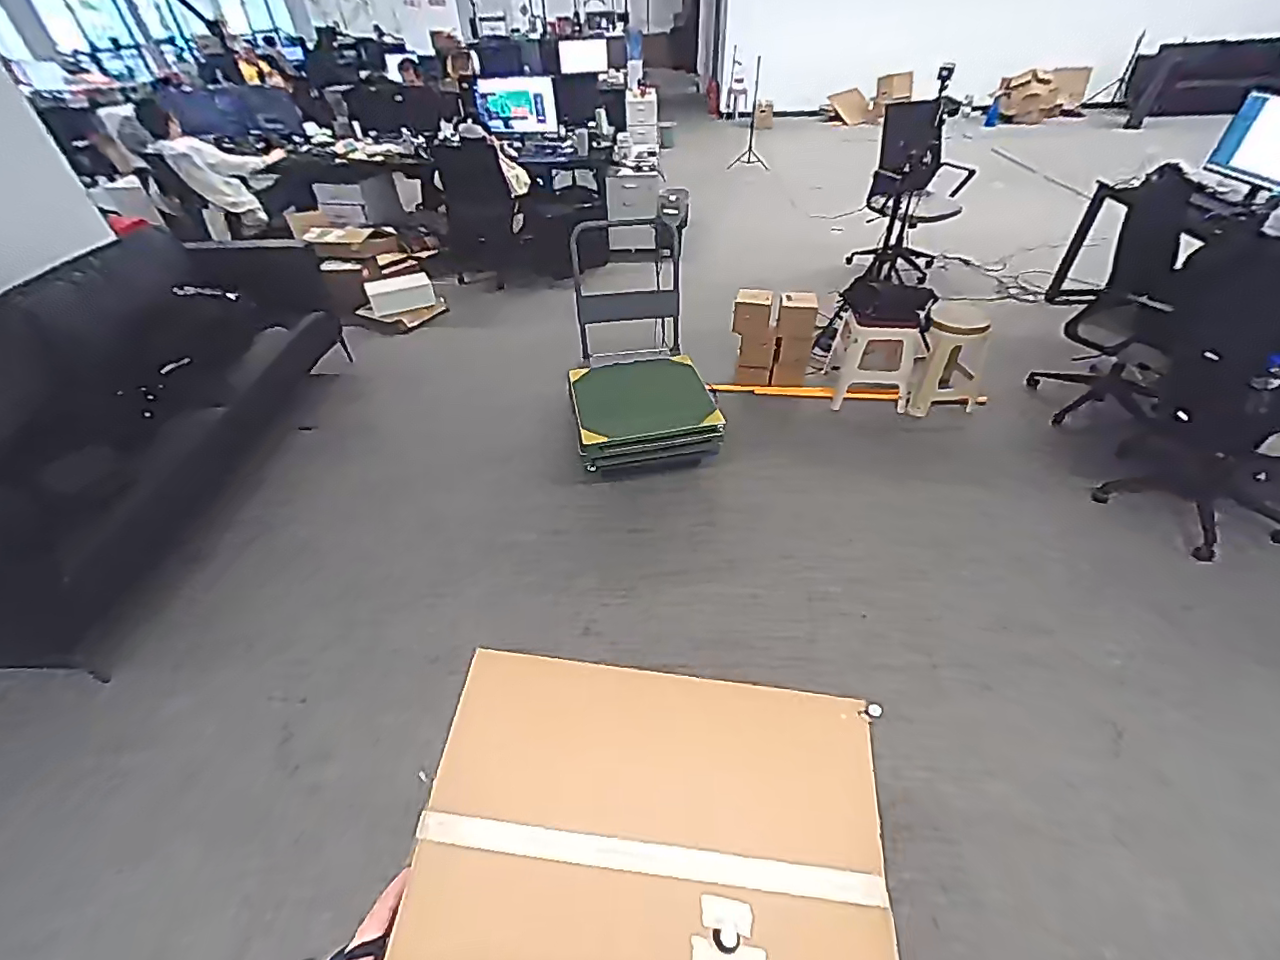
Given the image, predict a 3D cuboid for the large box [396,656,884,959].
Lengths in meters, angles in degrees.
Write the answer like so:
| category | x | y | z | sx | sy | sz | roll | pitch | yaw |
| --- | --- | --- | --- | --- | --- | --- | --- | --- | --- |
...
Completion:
| category | x | y | z | sx | sy | sz | roll | pitch | yaw |
| --- | --- | --- | --- | --- | --- | --- | --- | --- | --- |
| large box | 0.002 | 0.414 | 0.601 | 0.408 | 0.320 | 0.320 | 6 | 56 | 2 |
